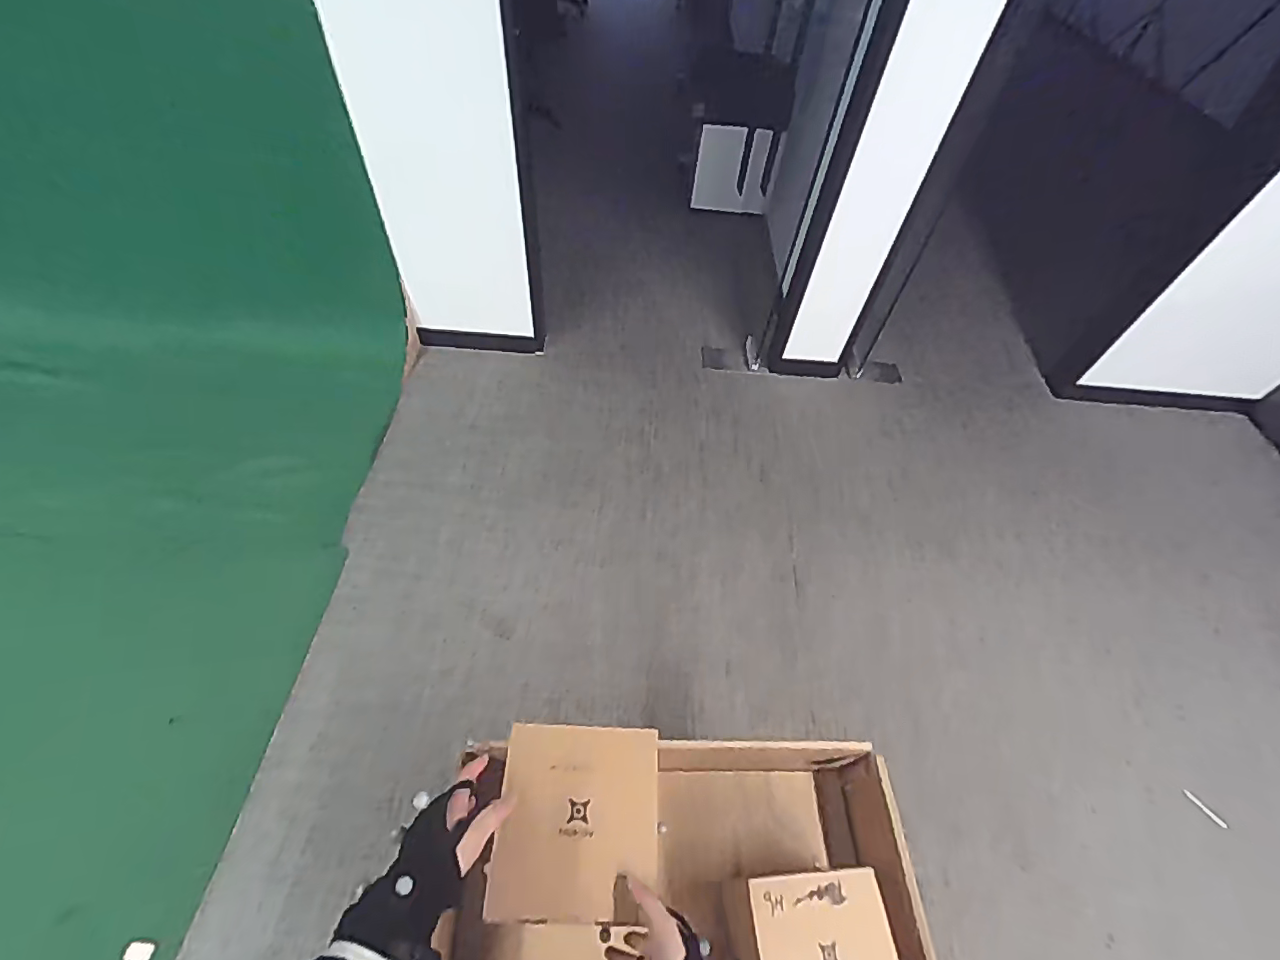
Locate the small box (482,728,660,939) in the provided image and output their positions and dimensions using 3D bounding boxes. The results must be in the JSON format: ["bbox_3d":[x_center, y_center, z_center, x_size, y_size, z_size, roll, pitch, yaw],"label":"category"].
[{"bbox_3d":[-0.069,0.401,0.616,0.168,0.176,0.179,5,52,-3],"label":"small box"}]
